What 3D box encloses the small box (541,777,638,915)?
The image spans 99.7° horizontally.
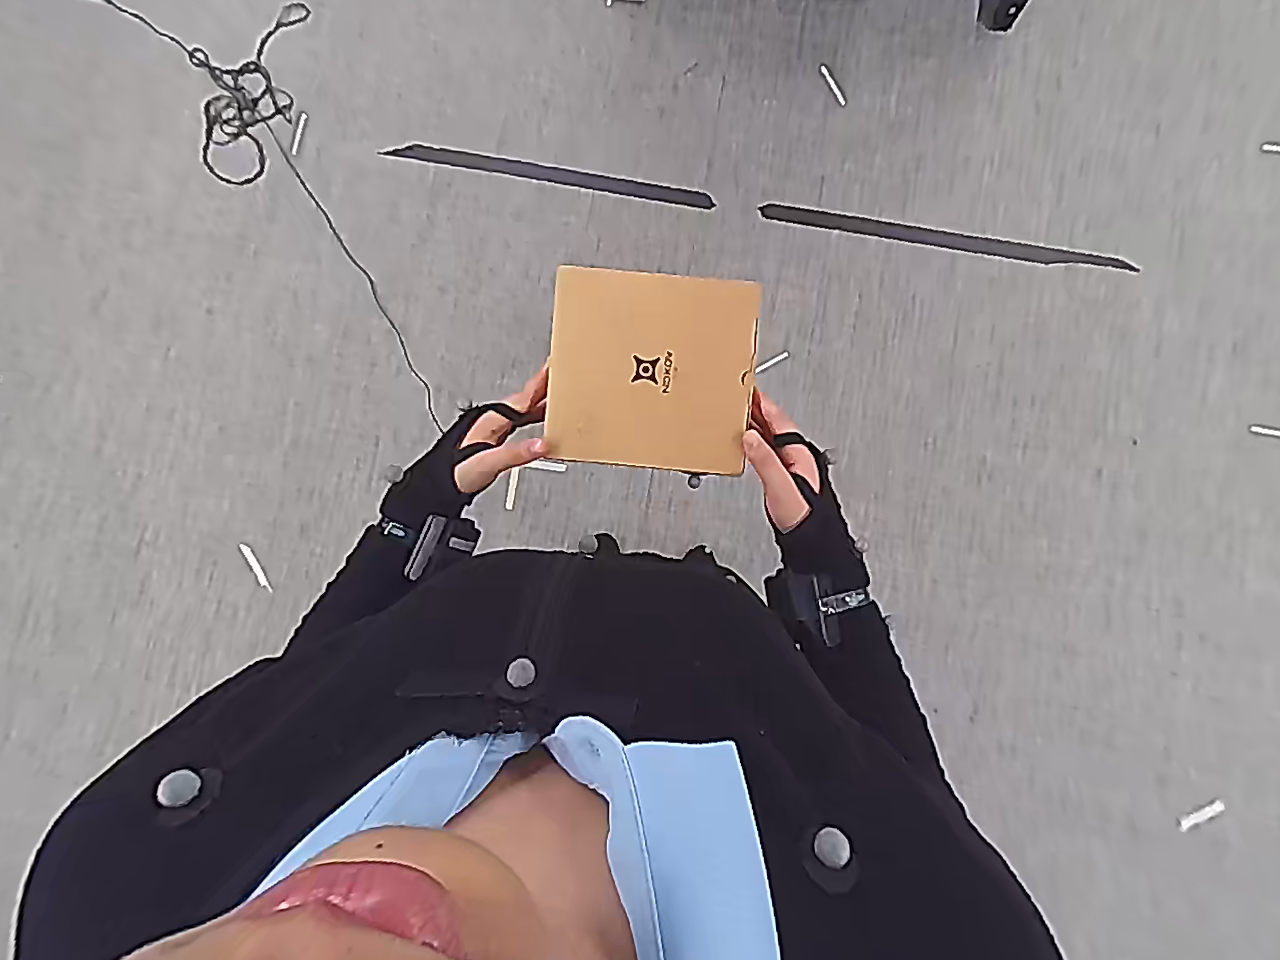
[{"bbox_3d":[-0.104,0.802,1.206,0.168,0.176,0.179,15,87,4],"label":"small box"}]

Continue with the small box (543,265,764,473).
[{"bbox_3d":[0.012,-0.095,0.535,0.179,0.176,0.168,5,92,0],"label":"small box"}]
